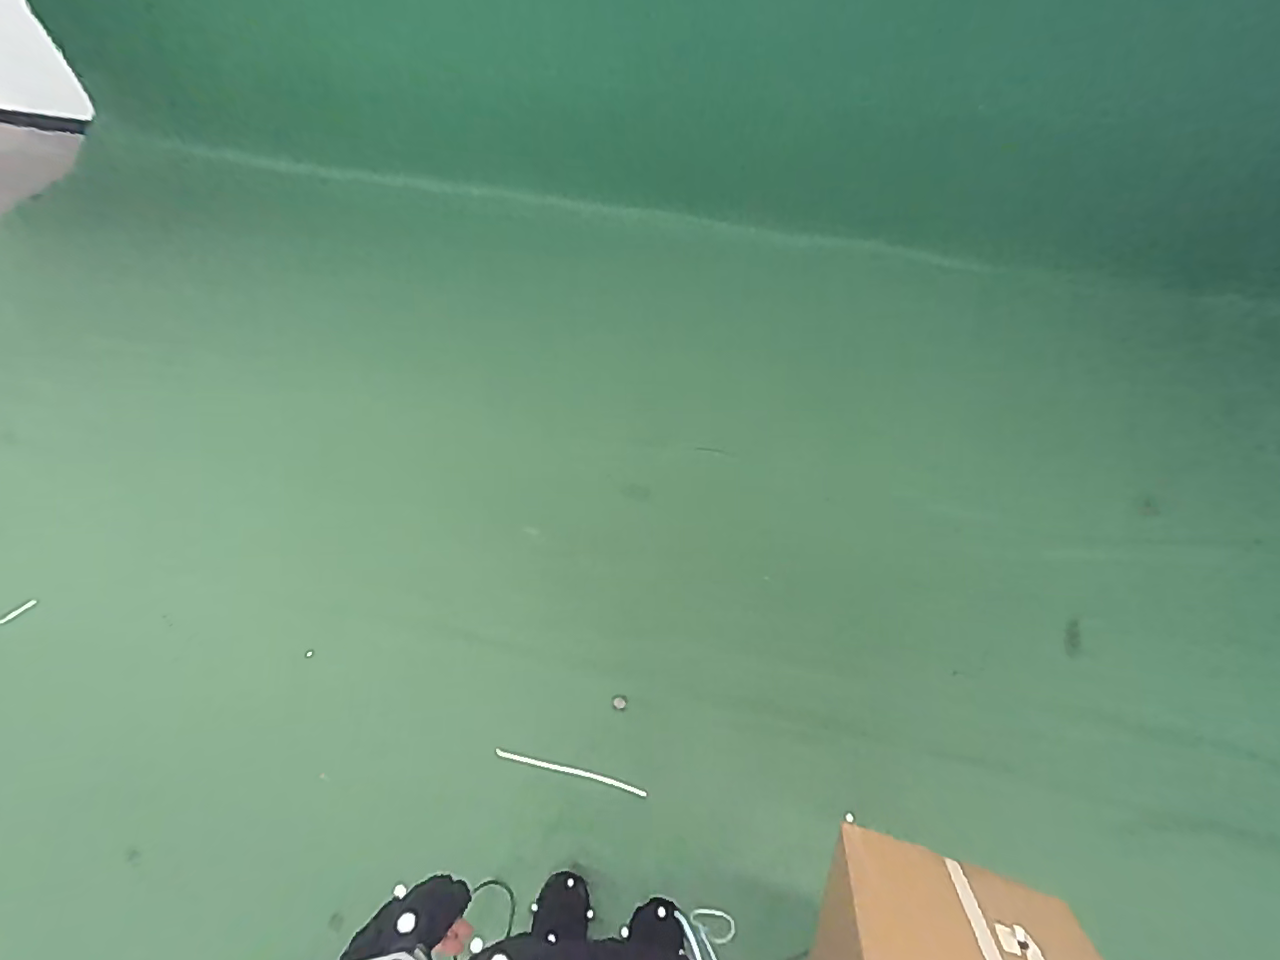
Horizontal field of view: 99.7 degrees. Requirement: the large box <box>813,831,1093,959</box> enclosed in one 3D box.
[{"bbox_3d":[0.382,0.730,0.633,0.320,0.408,0.320,14,93,15],"label":"large box"}]
